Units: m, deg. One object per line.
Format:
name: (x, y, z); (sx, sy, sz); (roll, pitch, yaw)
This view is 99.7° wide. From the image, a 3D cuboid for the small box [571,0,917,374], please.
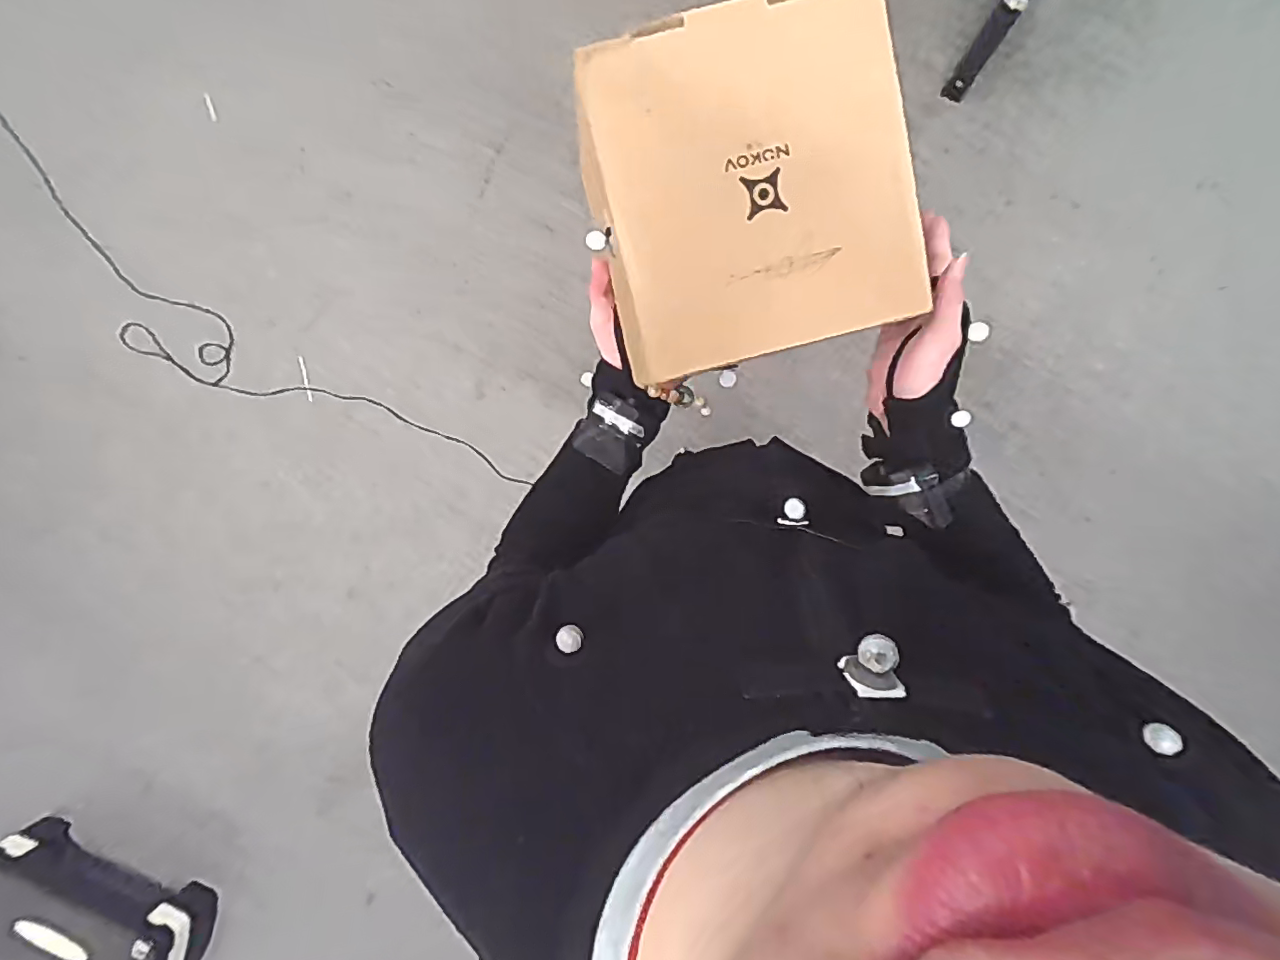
small box: (0.055, -0.178, 0.373); (0.168, 0.176, 0.179); (-15, 100, -1)
